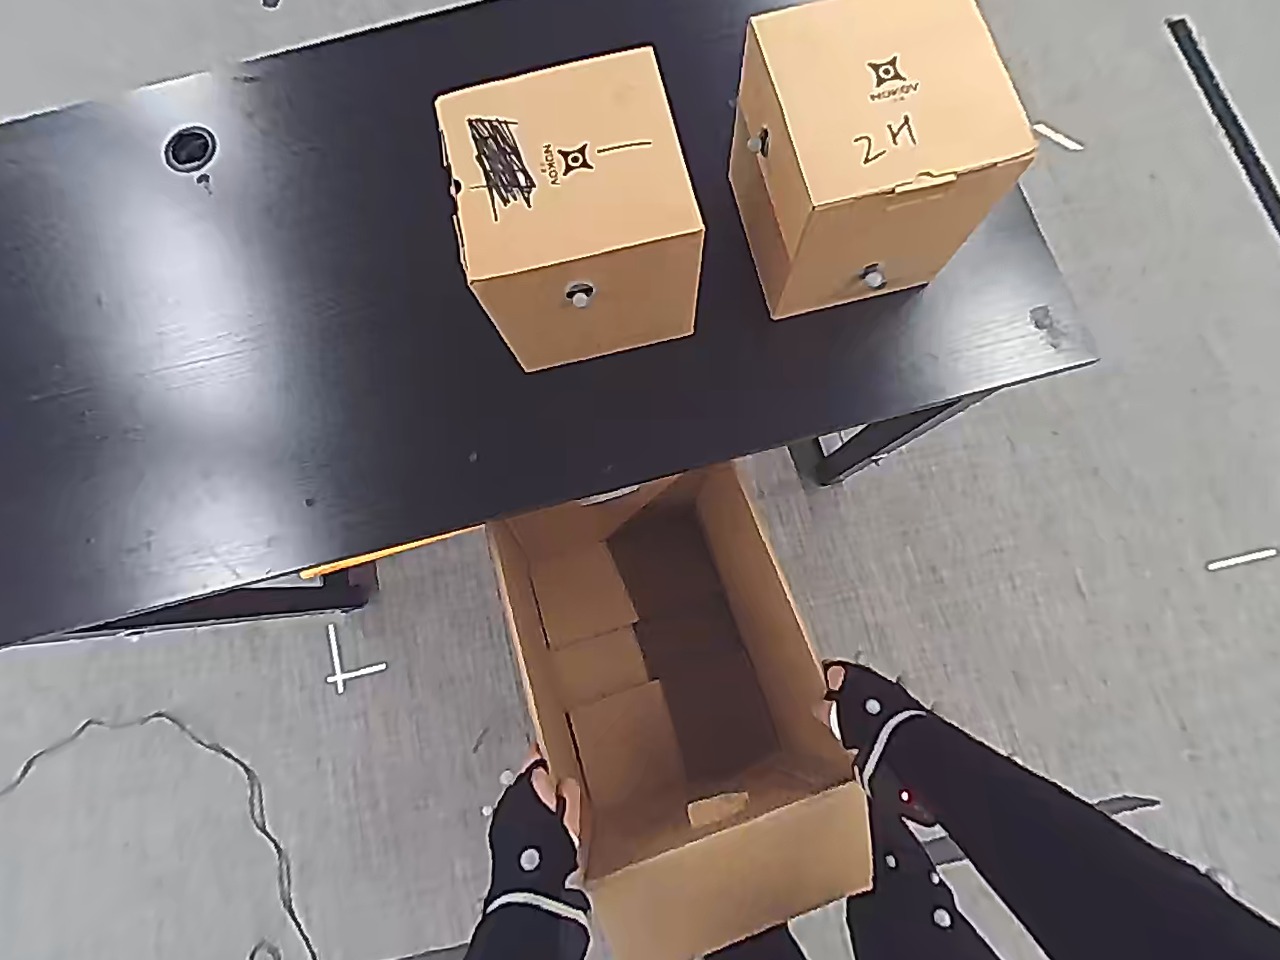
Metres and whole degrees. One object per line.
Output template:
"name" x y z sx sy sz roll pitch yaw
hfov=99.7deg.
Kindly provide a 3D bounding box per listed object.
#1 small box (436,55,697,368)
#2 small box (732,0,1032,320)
"small box" -0.054 -0.216 0.480 0.179 0.176 0.168 -13 79 0
"small box" 0.185 -0.272 0.477 0.168 0.176 0.179 -13 78 2
